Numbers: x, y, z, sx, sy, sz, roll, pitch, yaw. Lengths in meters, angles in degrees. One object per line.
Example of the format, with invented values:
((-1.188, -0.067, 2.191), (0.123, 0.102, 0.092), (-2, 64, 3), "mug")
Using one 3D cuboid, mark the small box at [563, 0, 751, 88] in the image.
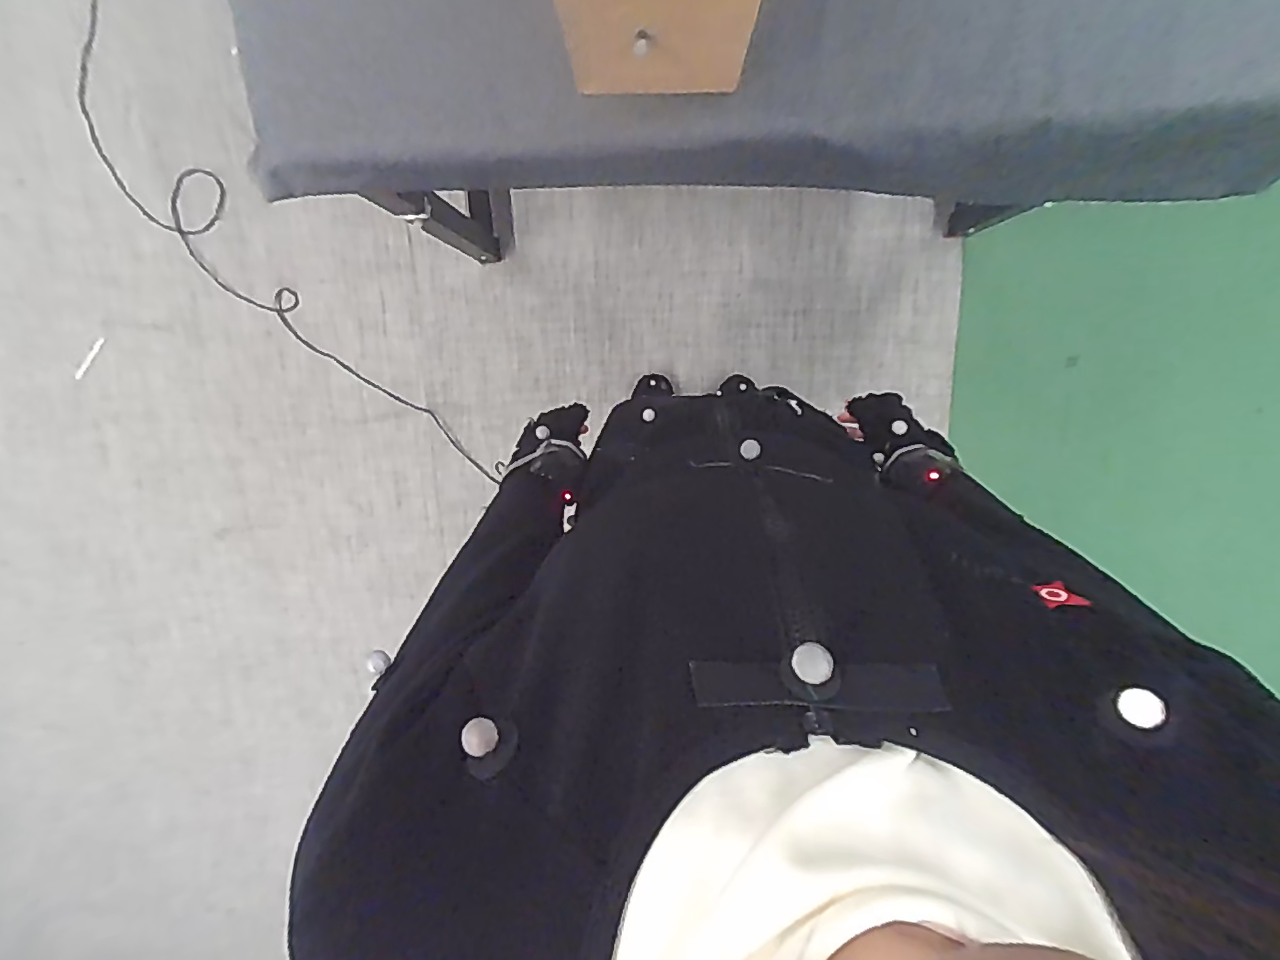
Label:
((0.016, -0.502, 0.510), (0.179, 0.176, 0.168), (0, 101, 2), "small box")
